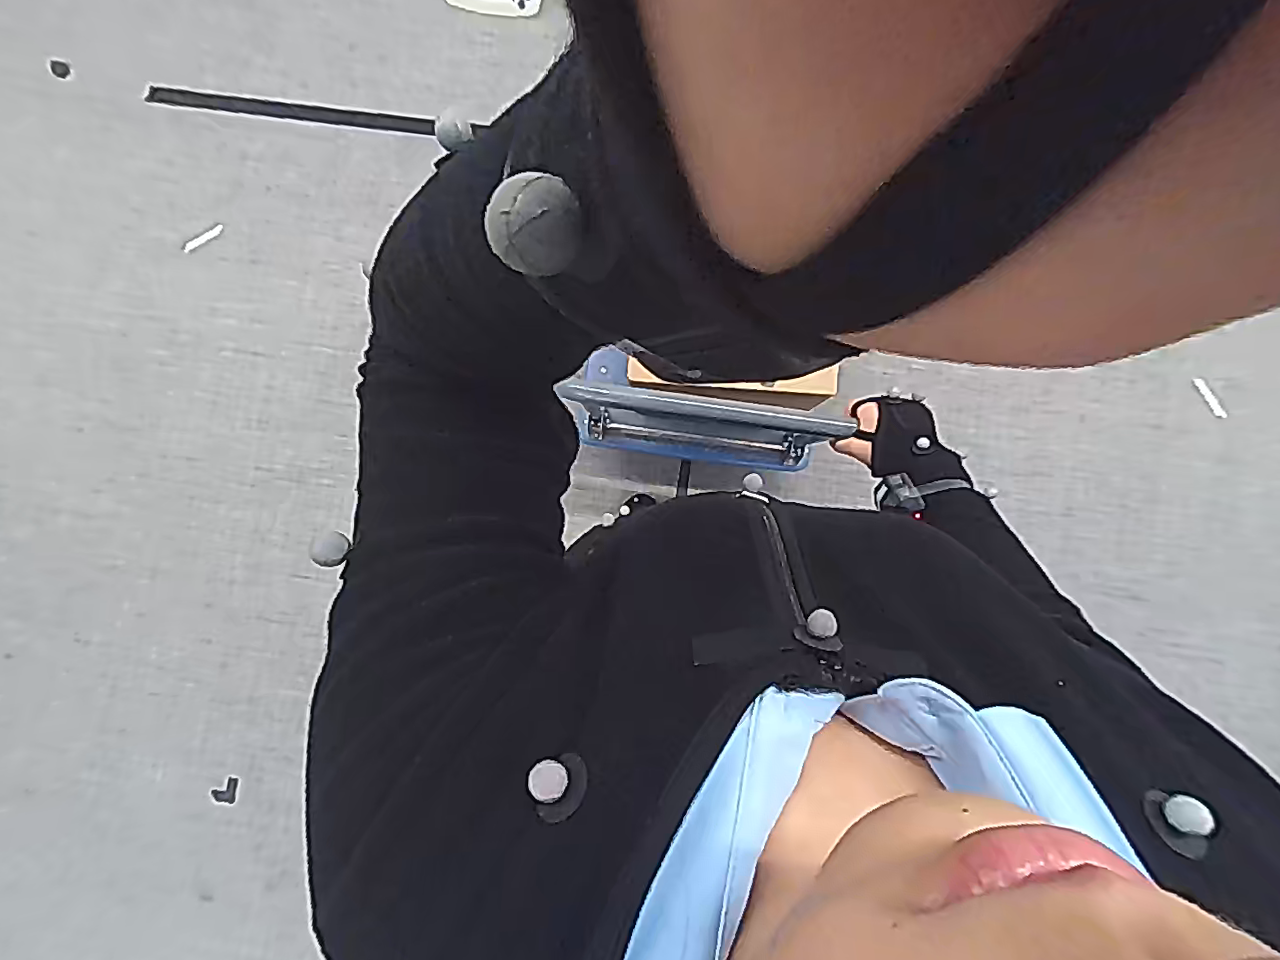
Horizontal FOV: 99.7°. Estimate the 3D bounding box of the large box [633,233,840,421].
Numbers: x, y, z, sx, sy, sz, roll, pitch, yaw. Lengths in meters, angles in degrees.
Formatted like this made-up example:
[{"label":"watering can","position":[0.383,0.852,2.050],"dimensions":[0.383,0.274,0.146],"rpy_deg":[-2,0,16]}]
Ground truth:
[{"label":"large box","position":[0.188,-0.315,1.206],"dimensions":[0.408,0.320,0.320],"rpy_deg":[4,87,0]}]
